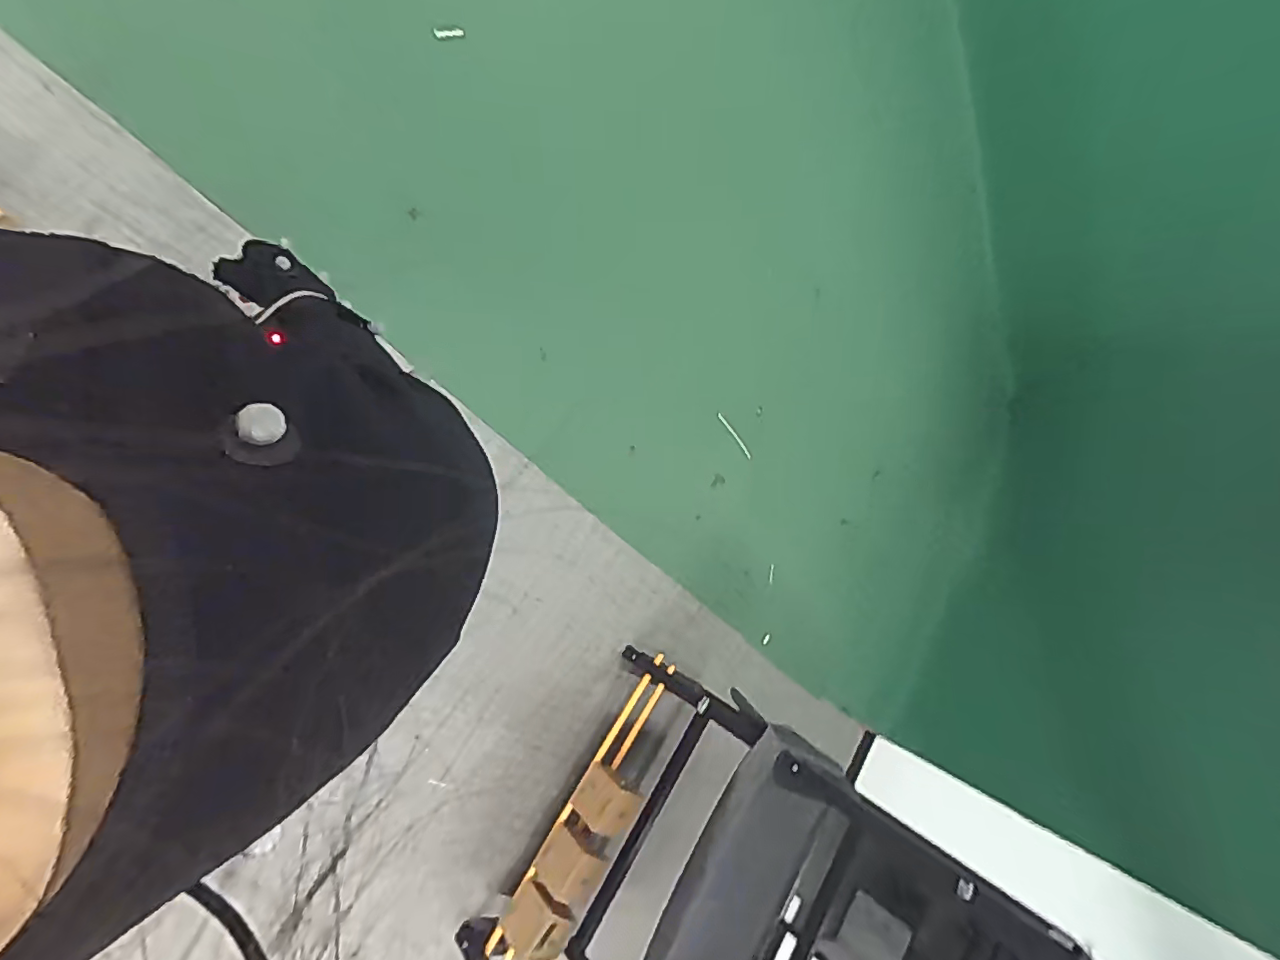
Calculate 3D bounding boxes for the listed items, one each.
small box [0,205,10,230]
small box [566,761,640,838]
[{"bbox_3d":[-1.129,-0.422,0.815,0.179,0.176,0.168,43,74,-40],"label":"small box"},{"bbox_3d":[-0.138,1.179,2.002,0.179,0.176,0.168,45,73,-37],"label":"small box"}]
